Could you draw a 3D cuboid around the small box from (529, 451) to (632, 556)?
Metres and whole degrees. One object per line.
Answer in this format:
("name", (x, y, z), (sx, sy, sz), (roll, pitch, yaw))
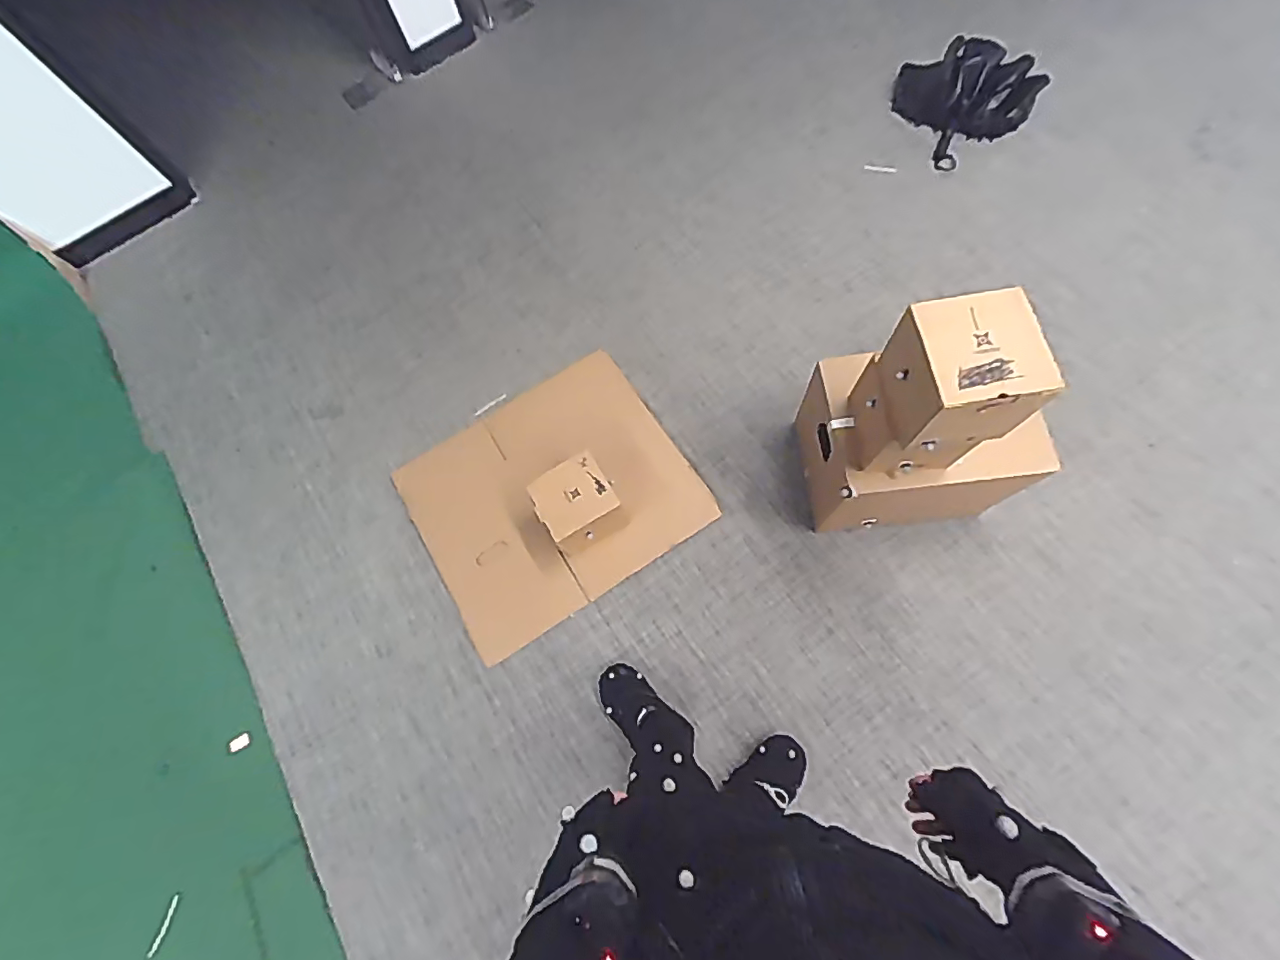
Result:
("small box", (-0.140, 0.066, 1.338), (0.179, 0.176, 0.168), (-34, 68, -4))

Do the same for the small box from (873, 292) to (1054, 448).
("small box", (0.495, -0.161, 0.858), (0.168, 0.176, 0.179), (-11, 72, 3))

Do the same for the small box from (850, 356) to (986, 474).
("small box", (0.508, -0.122, 1.017), (0.168, 0.176, 0.179), (-4, 72, 6))
